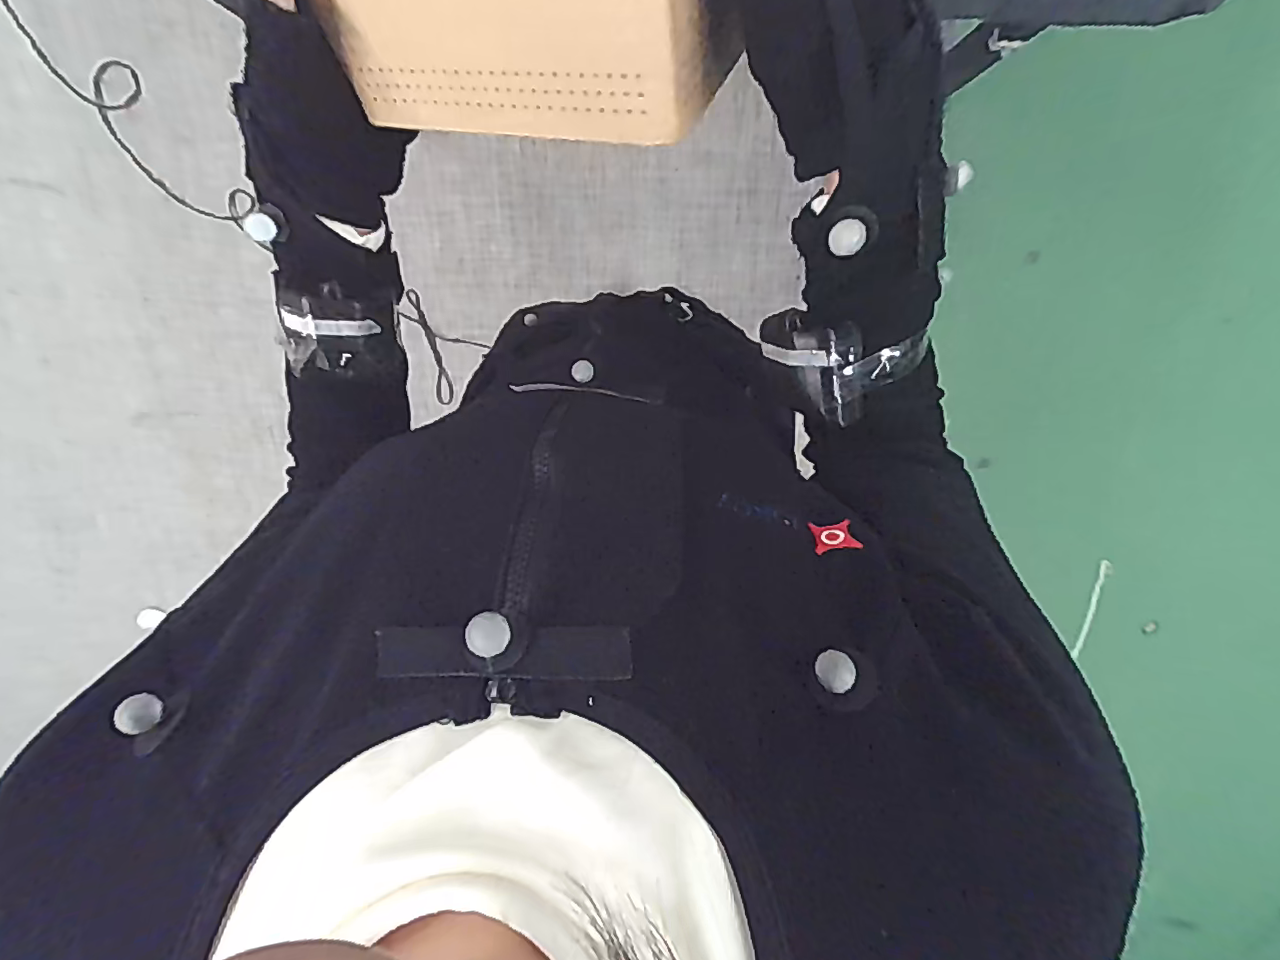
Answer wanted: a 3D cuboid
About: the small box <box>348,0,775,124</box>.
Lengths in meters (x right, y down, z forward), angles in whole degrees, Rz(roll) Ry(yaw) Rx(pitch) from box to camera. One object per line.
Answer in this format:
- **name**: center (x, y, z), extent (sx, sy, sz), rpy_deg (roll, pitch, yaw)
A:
- **small box**: center (-0.039, -0.284, 0.235), extent (0.179, 0.168, 0.176), rpy_deg (16, 152, 18)
